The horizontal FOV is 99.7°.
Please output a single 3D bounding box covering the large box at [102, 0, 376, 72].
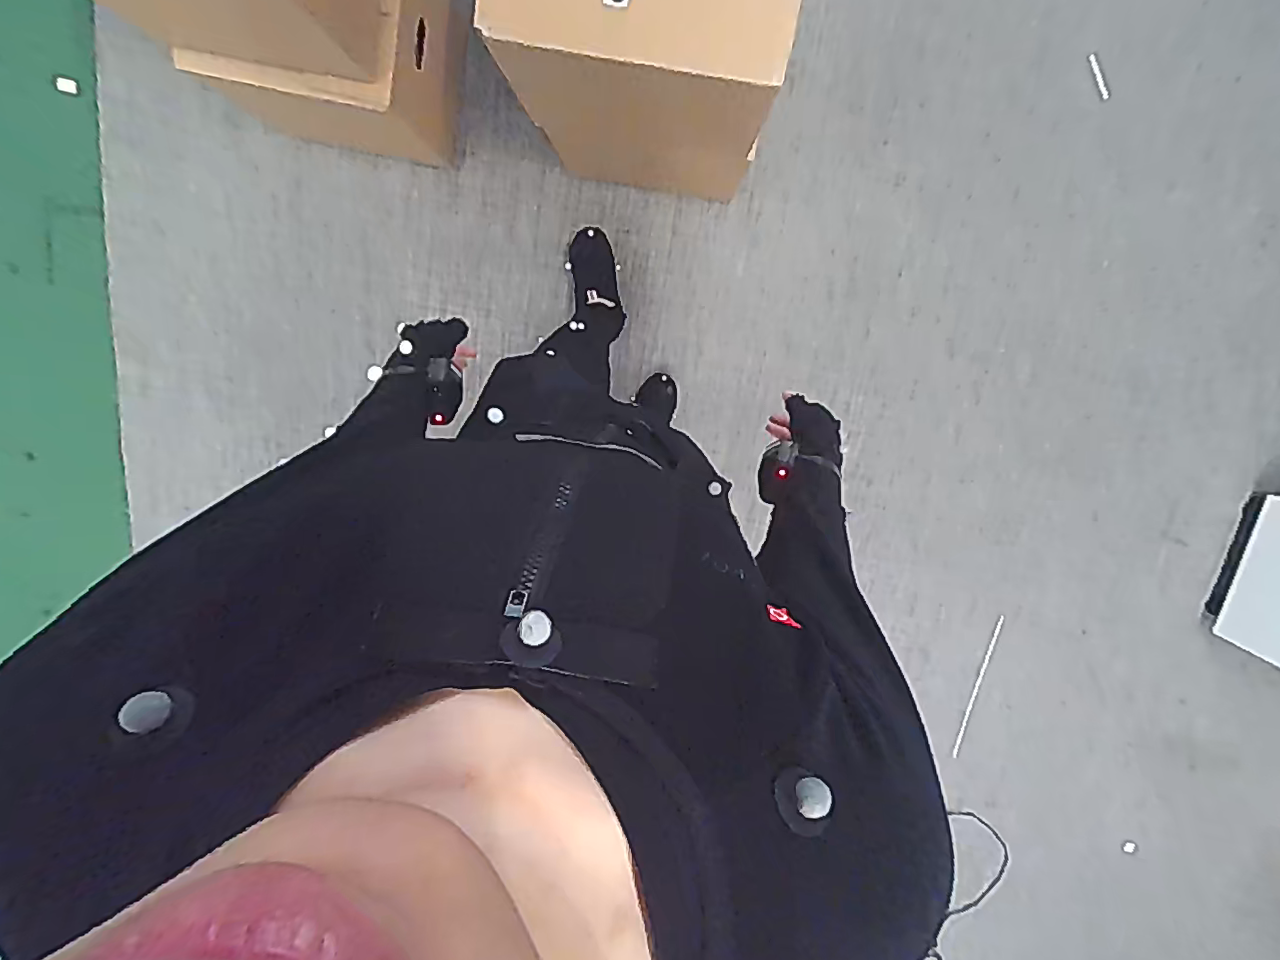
[{"bbox_3d":[-0.655,-0.880,0.794,0.408,0.320,0.320,10,101,-1],"label":"large box"}]
